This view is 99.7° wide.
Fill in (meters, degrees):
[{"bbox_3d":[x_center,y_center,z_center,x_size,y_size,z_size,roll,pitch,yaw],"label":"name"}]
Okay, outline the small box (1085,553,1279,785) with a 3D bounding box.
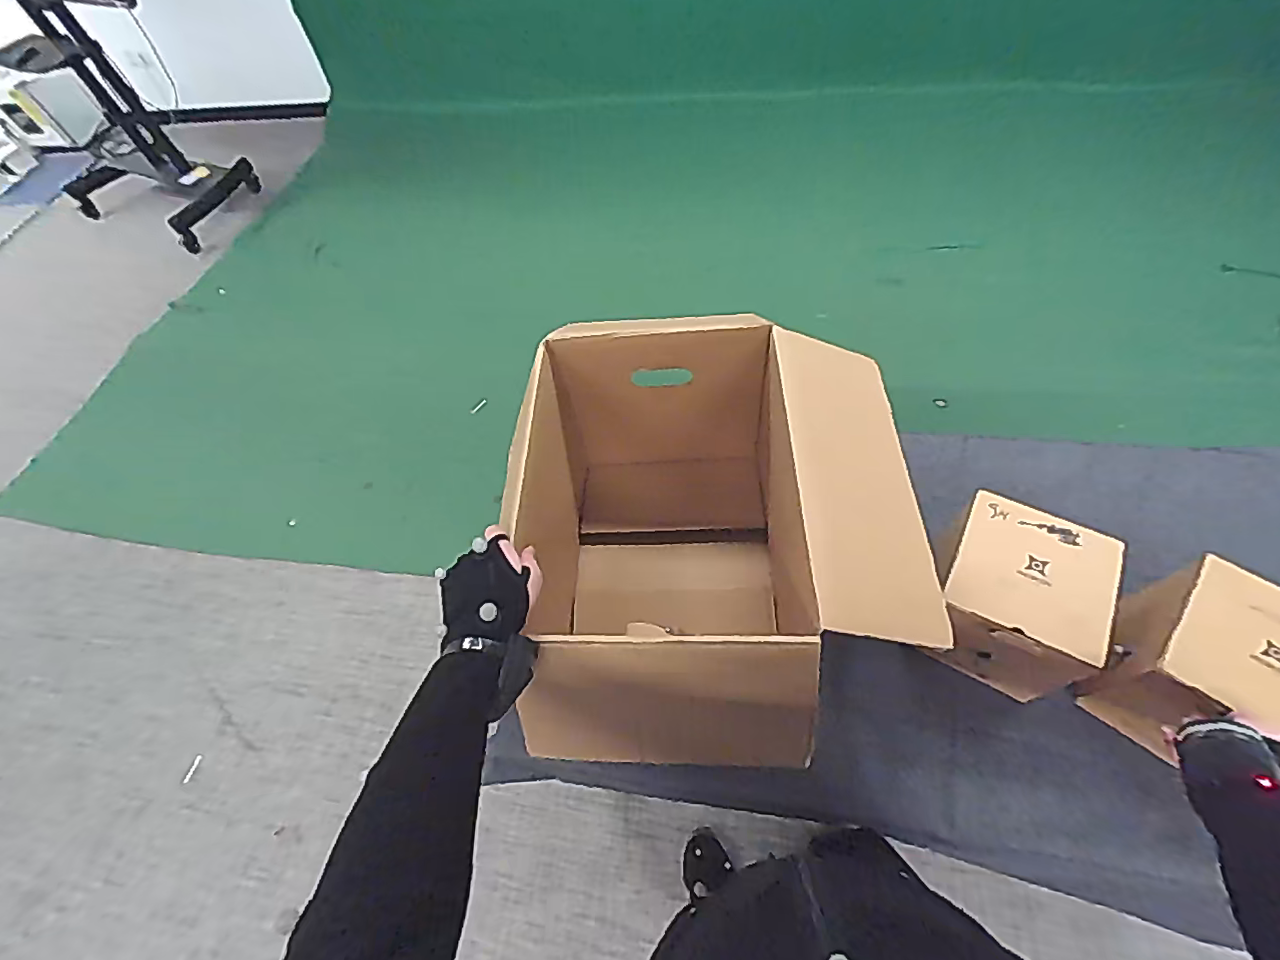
[{"bbox_3d":[0.674,0.225,0.631,0.168,0.176,0.179,34,67,24],"label":"small box"}]
